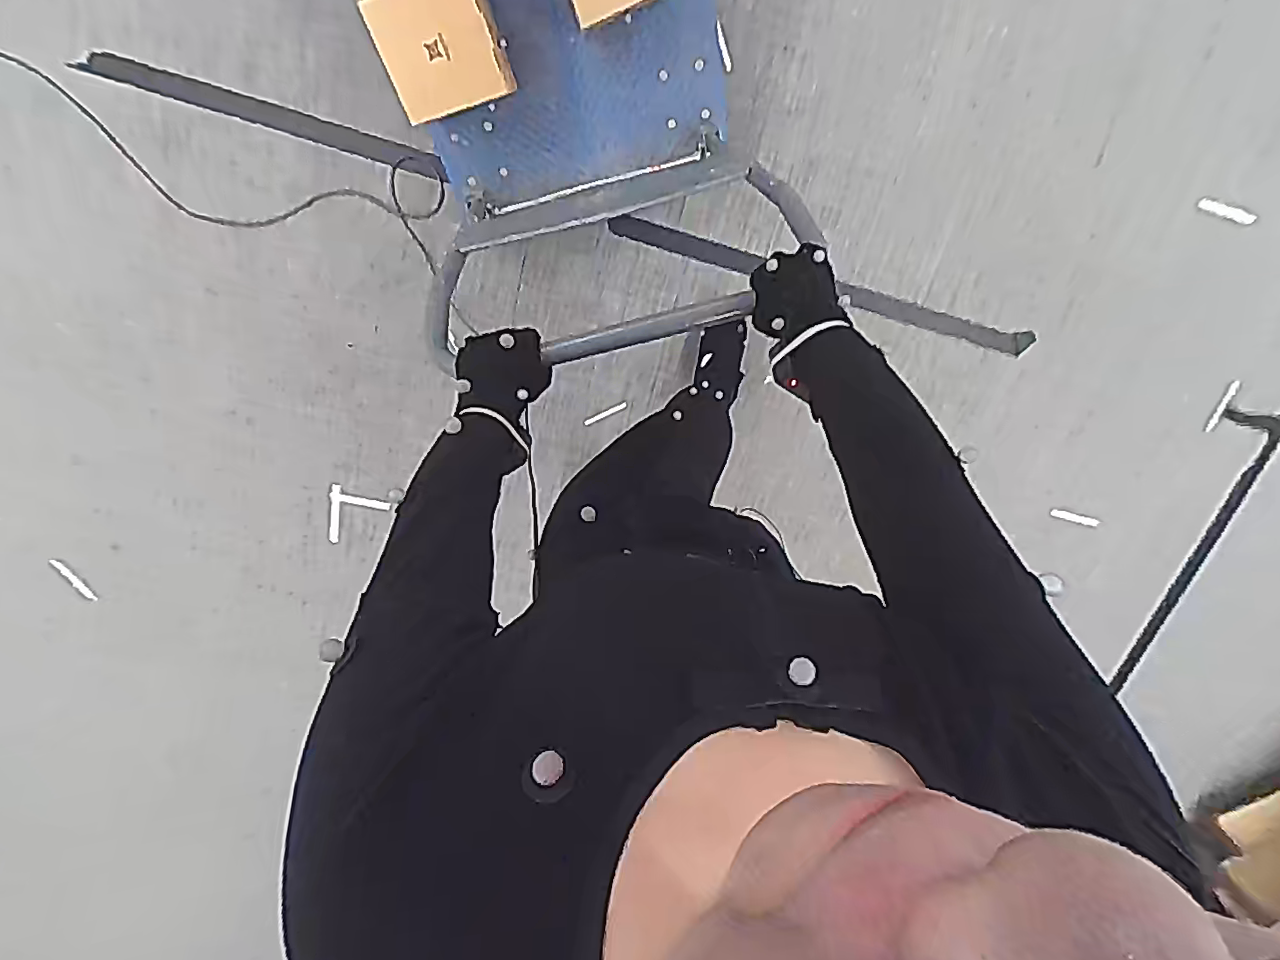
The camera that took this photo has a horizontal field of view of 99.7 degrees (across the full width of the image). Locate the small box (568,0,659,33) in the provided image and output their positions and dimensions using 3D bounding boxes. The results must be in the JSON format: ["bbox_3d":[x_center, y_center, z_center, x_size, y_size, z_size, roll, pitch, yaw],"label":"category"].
[{"bbox_3d":[-0.048,-0.843,0.856,0.179,0.176,0.168,-19,127,8],"label":"small box"}]

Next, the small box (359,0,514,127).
[{"bbox_3d":[-0.329,-0.722,0.917,0.179,0.176,0.168,-17,127,5],"label":"small box"}]
